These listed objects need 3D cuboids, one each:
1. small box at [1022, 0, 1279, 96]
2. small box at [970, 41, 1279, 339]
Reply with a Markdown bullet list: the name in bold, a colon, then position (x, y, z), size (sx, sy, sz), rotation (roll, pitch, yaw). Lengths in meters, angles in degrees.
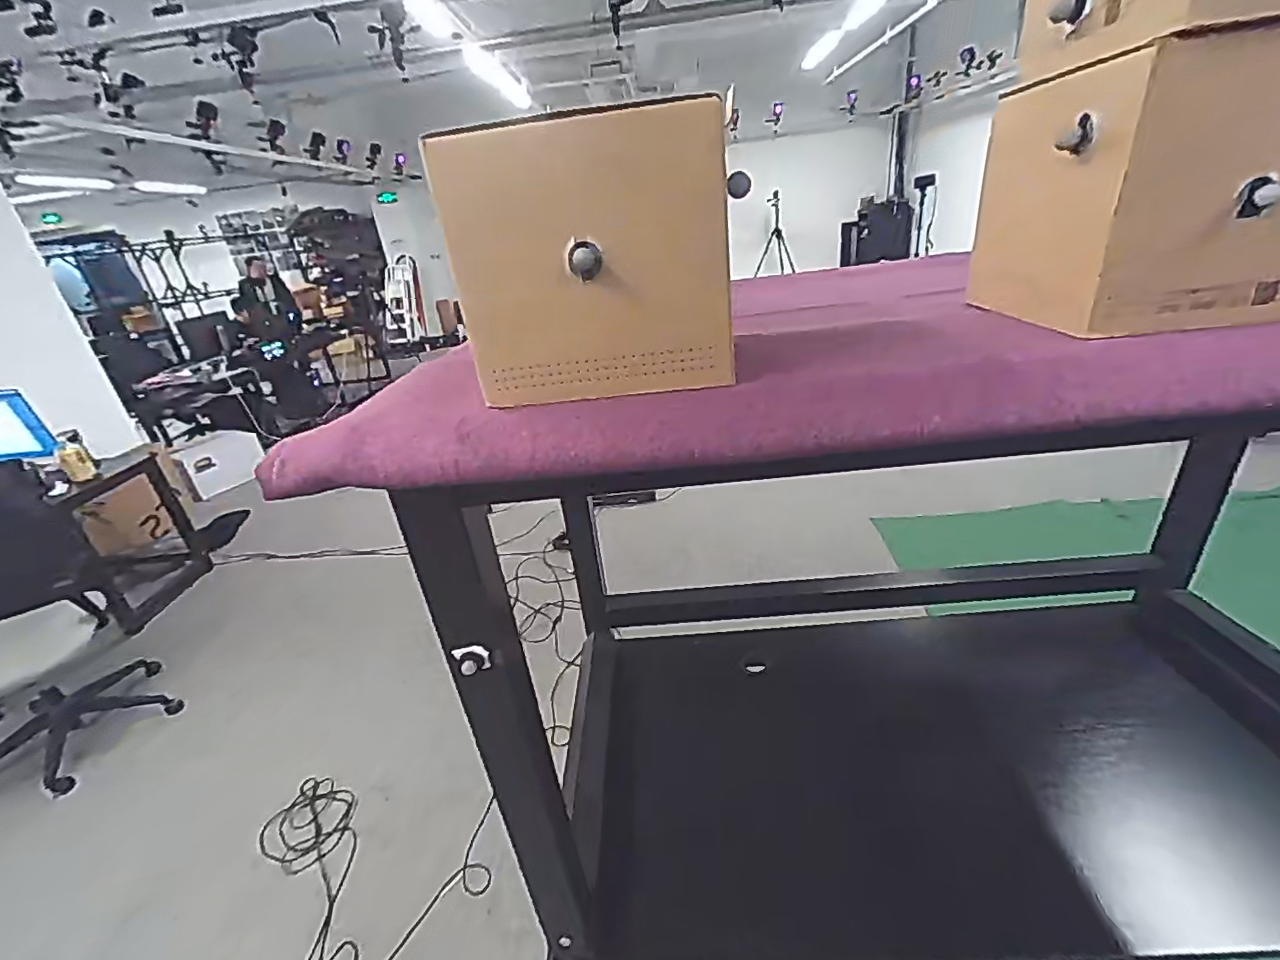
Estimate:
- **small box**: position (0.372, -0.345, 0.320), size (0.179, 0.176, 0.168), rotation (-5, 25, 6)
- **small box**: position (0.379, -0.204, 0.402), size (0.168, 0.176, 0.179), rotation (-3, 26, 6)
